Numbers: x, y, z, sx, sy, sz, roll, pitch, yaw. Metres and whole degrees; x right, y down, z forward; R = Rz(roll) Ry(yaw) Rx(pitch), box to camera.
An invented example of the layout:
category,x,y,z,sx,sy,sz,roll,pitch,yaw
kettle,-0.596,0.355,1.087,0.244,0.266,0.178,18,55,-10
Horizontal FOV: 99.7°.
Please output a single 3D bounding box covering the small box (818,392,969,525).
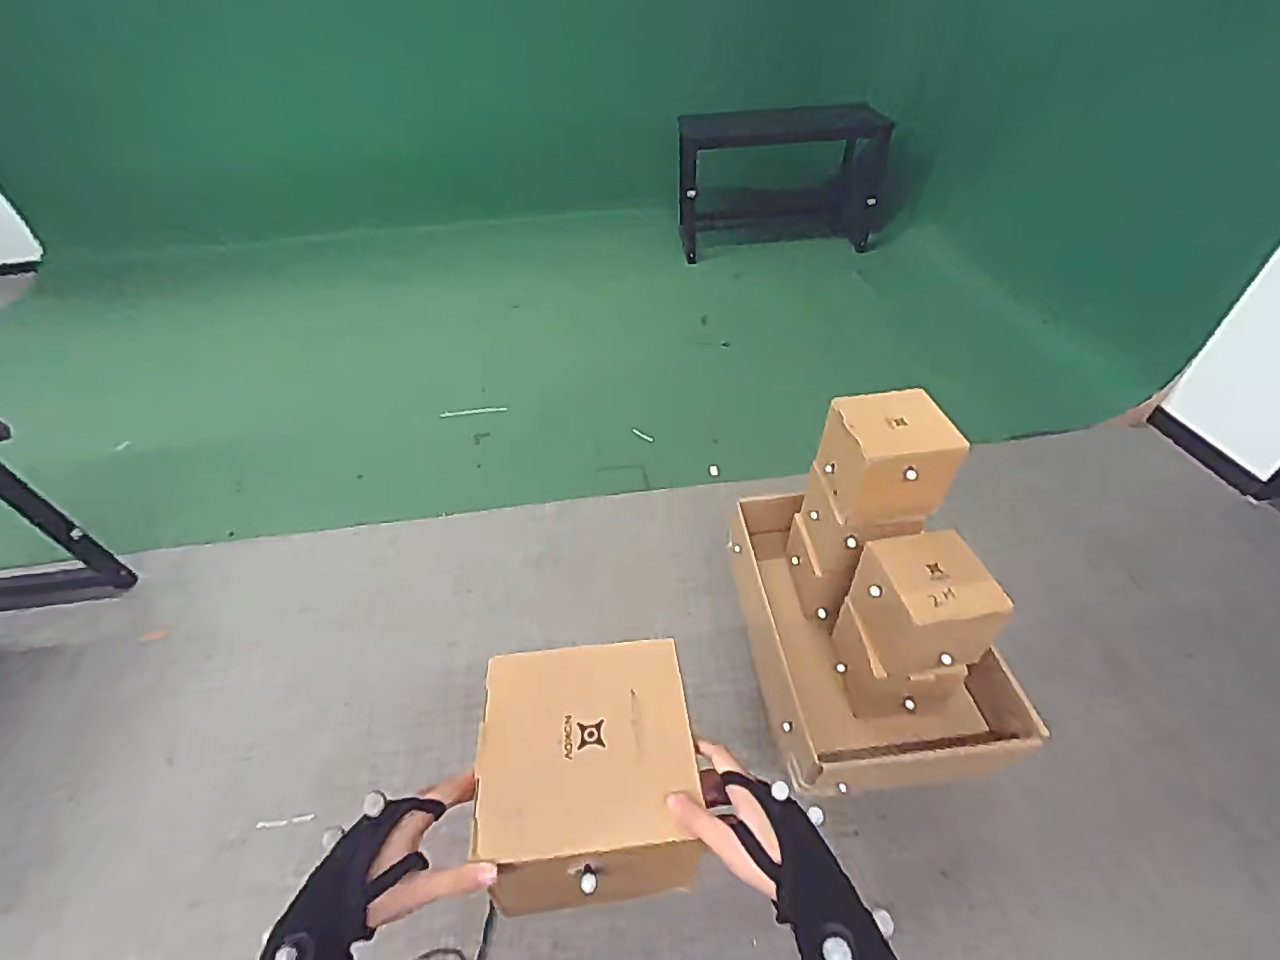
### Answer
category,x,y,z,sx,sy,sz,roll,pitch,yaw
small box,0.447,-0.038,0.986,0.179,0.176,0.168,-8,44,-3
